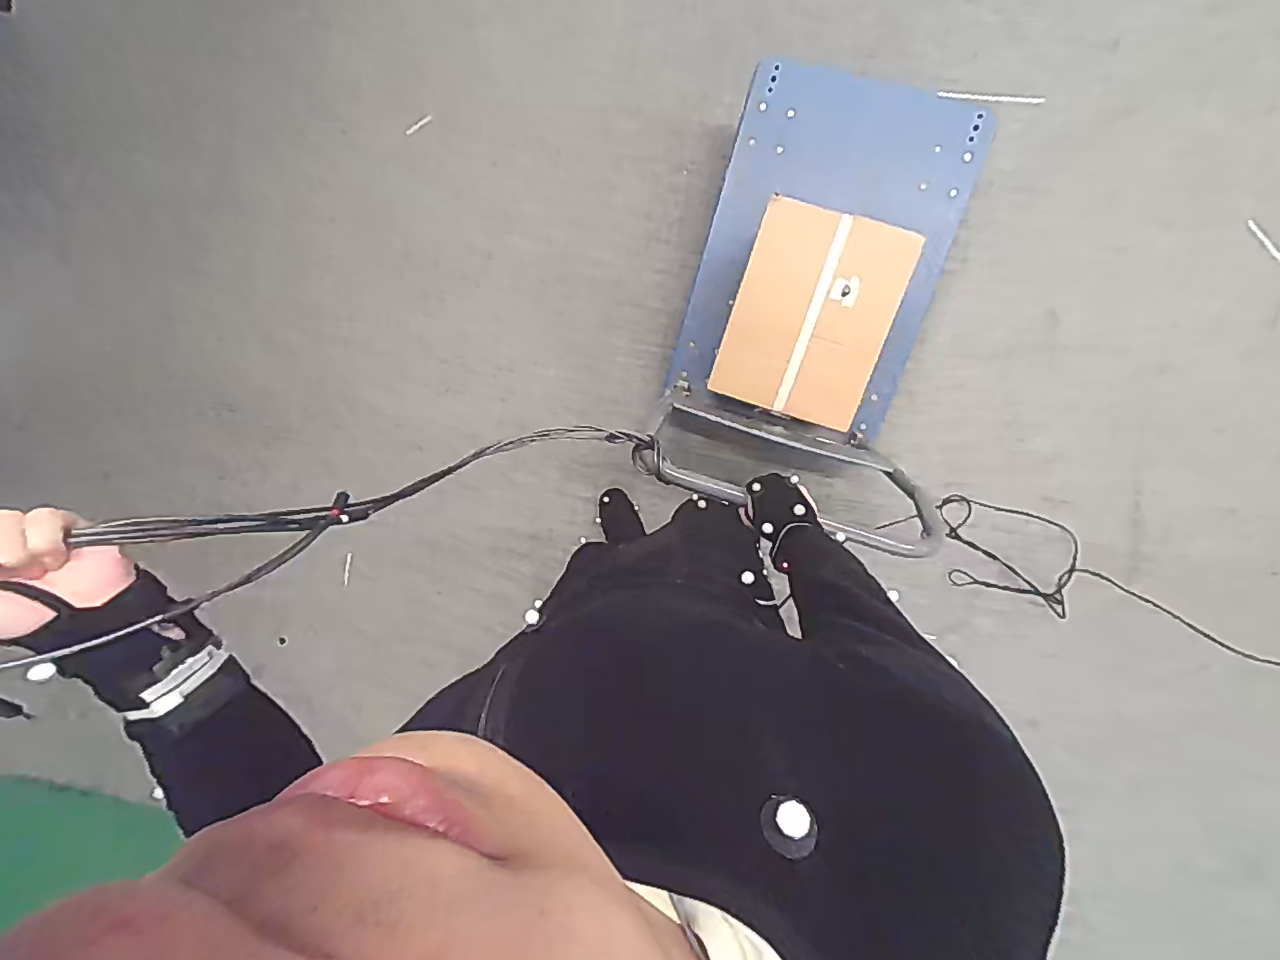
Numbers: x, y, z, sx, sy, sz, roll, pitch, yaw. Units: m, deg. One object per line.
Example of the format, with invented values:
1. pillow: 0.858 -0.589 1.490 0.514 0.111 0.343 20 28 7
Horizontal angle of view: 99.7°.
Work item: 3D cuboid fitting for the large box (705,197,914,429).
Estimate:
1. large box: 0.361 -0.363 1.258 0.320 0.320 0.408 19 103 4
